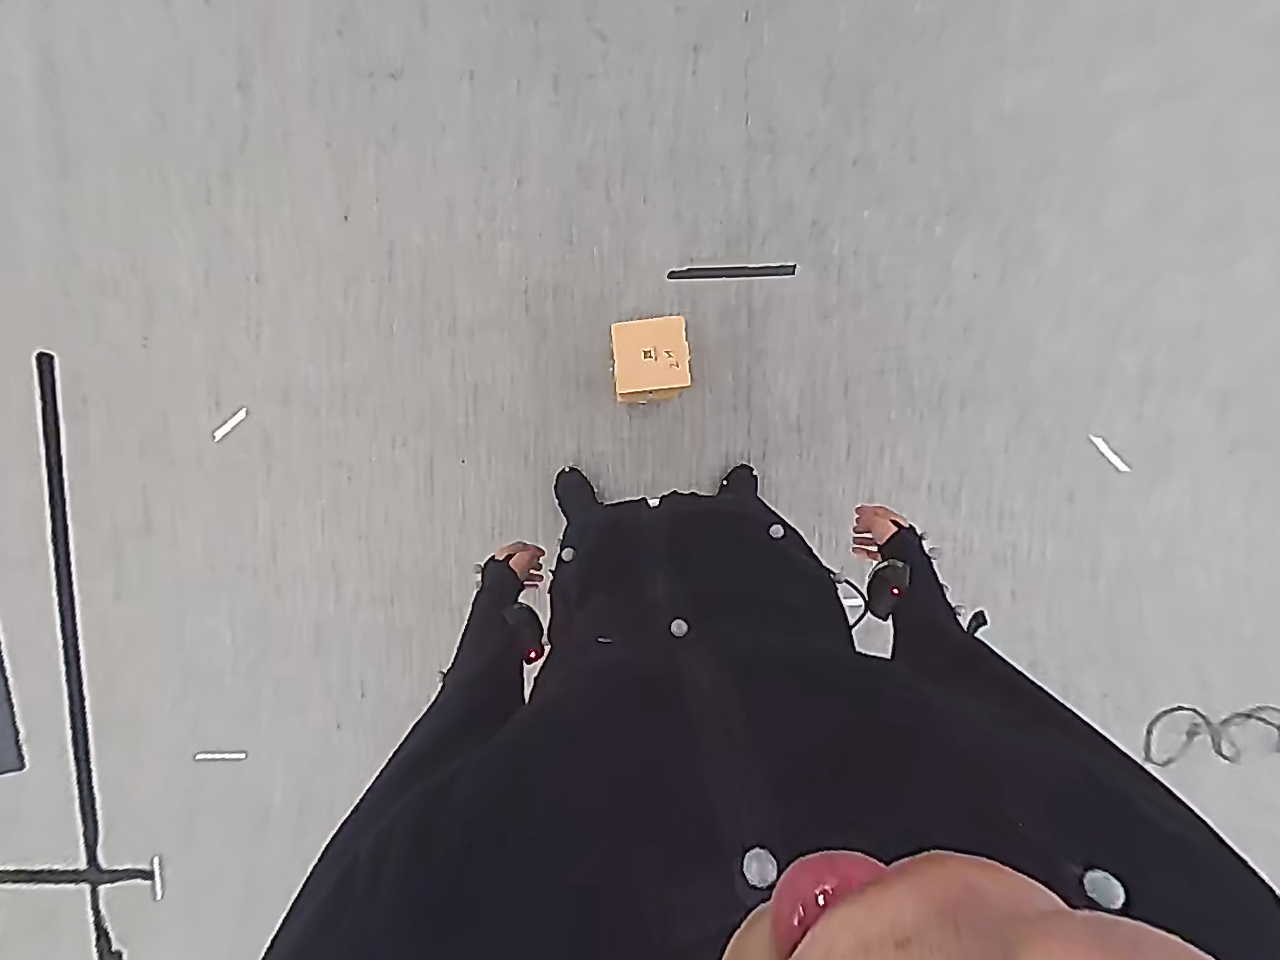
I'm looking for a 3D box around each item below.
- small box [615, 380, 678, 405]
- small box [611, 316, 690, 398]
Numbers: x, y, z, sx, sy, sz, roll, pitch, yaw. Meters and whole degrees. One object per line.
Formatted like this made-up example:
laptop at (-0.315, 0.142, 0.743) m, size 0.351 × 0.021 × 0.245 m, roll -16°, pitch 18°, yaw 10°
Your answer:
small box at (0.013, -0.307, 1.506) m, size 0.168 × 0.176 × 0.179 m, roll -5°, pitch 95°, yaw 1°
small box at (0.026, -0.299, 1.342) m, size 0.179 × 0.176 × 0.168 m, roll -6°, pitch 94°, yaw 1°
